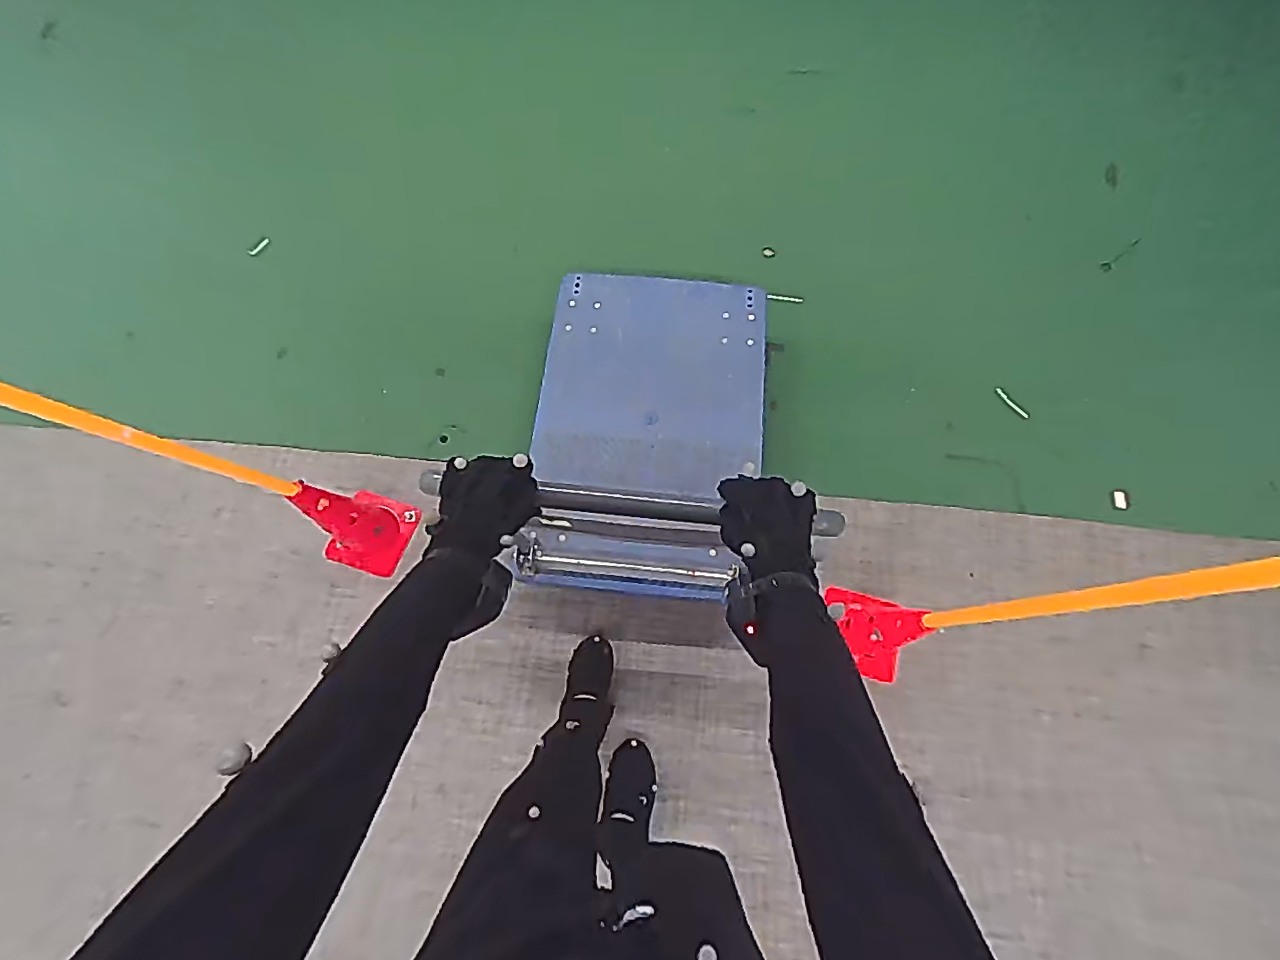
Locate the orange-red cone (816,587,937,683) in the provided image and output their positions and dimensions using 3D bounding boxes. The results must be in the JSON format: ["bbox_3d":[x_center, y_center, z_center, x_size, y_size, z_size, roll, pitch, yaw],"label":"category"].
[{"bbox_3d":[0.550,0.327,1.190,0.198,0.360,0.199,16,71,6],"label":"orange-red cone"}]
